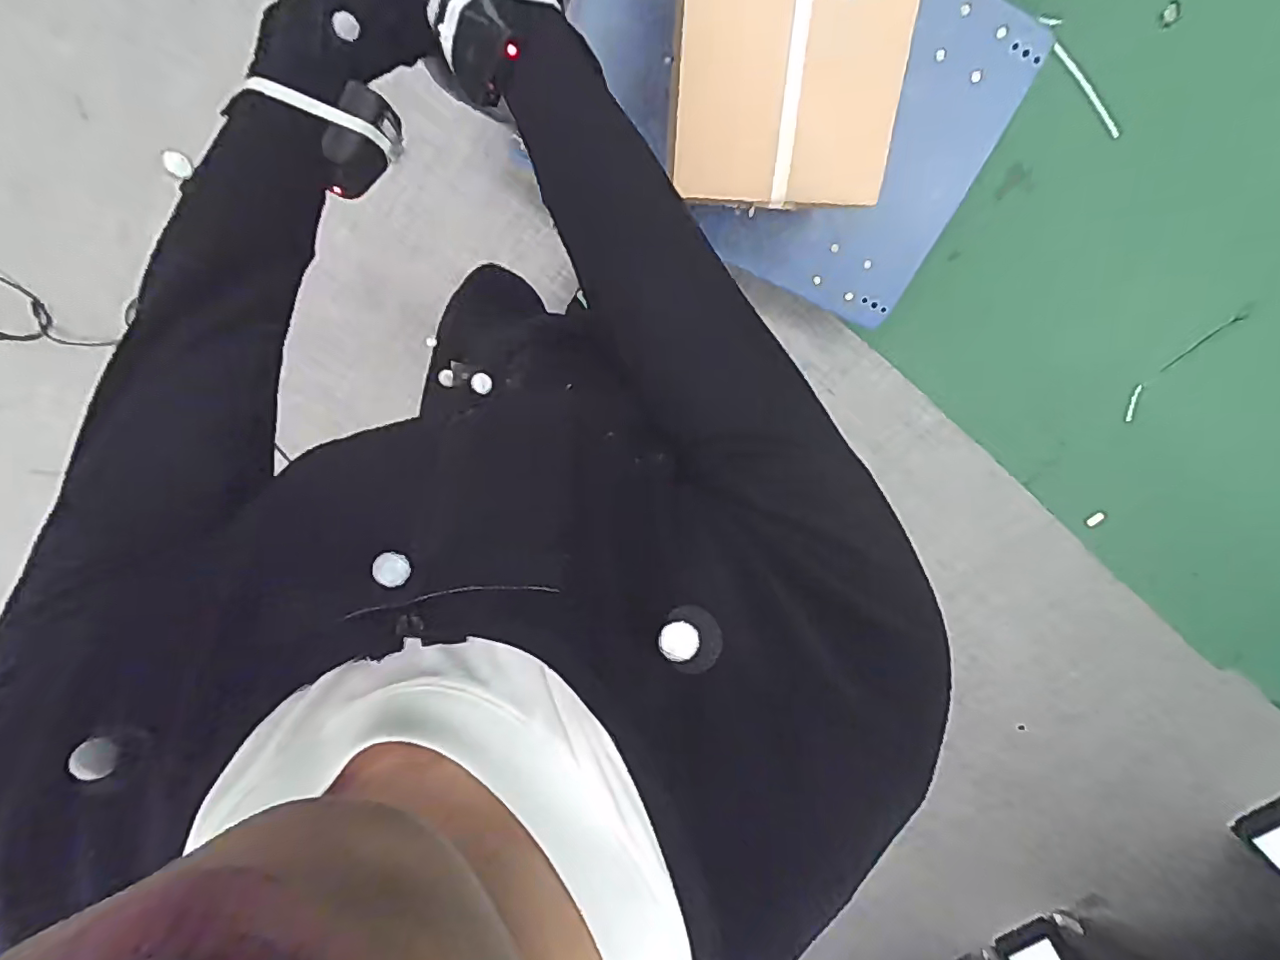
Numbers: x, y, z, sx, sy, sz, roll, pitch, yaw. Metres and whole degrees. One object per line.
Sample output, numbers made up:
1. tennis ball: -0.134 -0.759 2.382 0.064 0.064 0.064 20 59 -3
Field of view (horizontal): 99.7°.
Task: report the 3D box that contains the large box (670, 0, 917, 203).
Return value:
1. large box: 0.214 -0.672 0.858 0.320 0.320 0.408 3 116 -2
